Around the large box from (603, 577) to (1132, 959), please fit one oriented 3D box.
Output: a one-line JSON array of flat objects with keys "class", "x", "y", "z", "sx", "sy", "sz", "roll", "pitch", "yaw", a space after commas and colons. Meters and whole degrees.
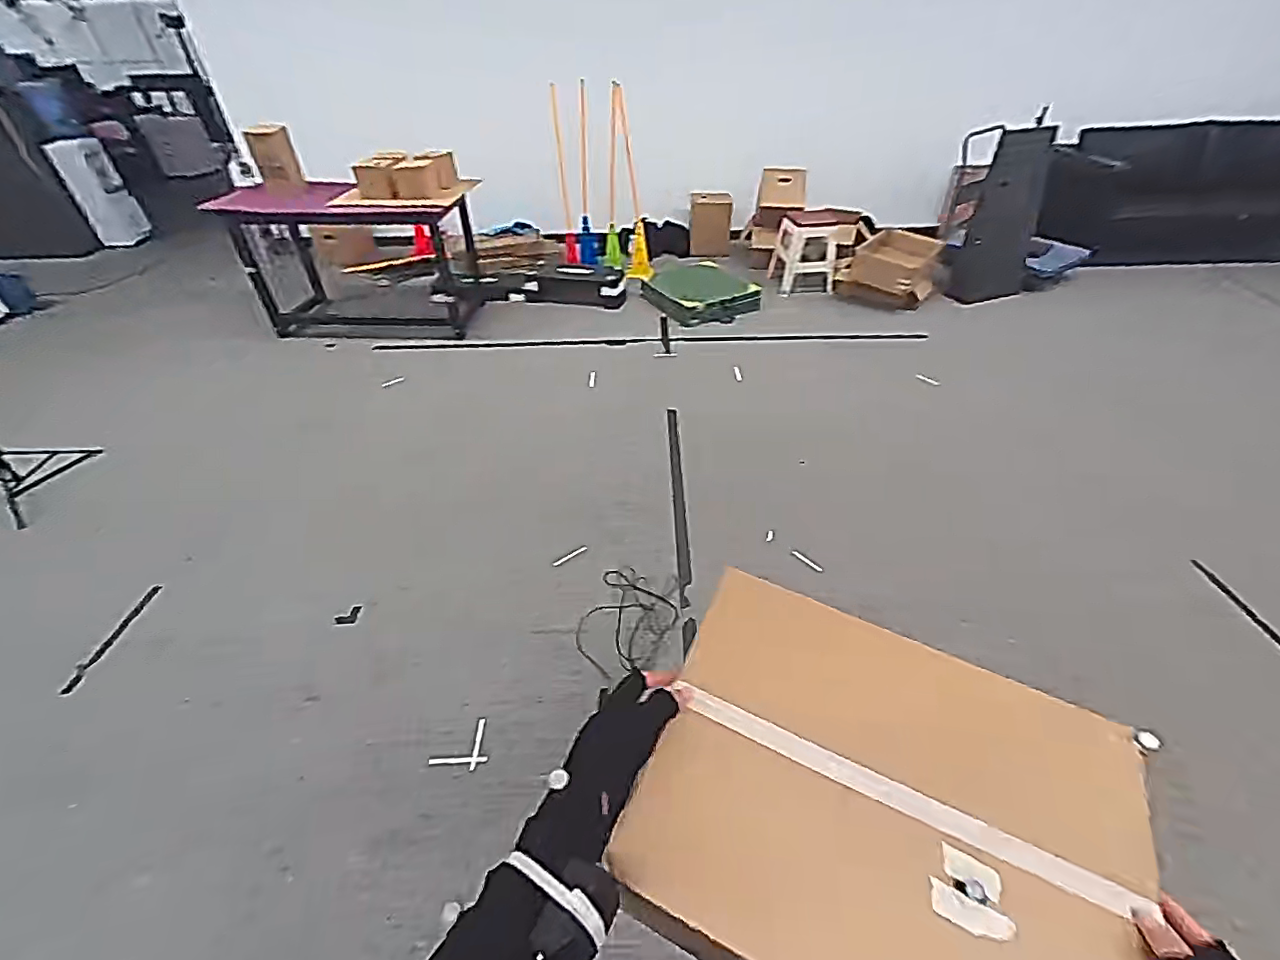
[{"class": "large box", "x": 0.200, "y": 0.373, "z": 0.593, "sx": 0.408, "sy": 0.320, "sz": 0.320, "roll": 20, "pitch": 51, "yaw": 14}]
